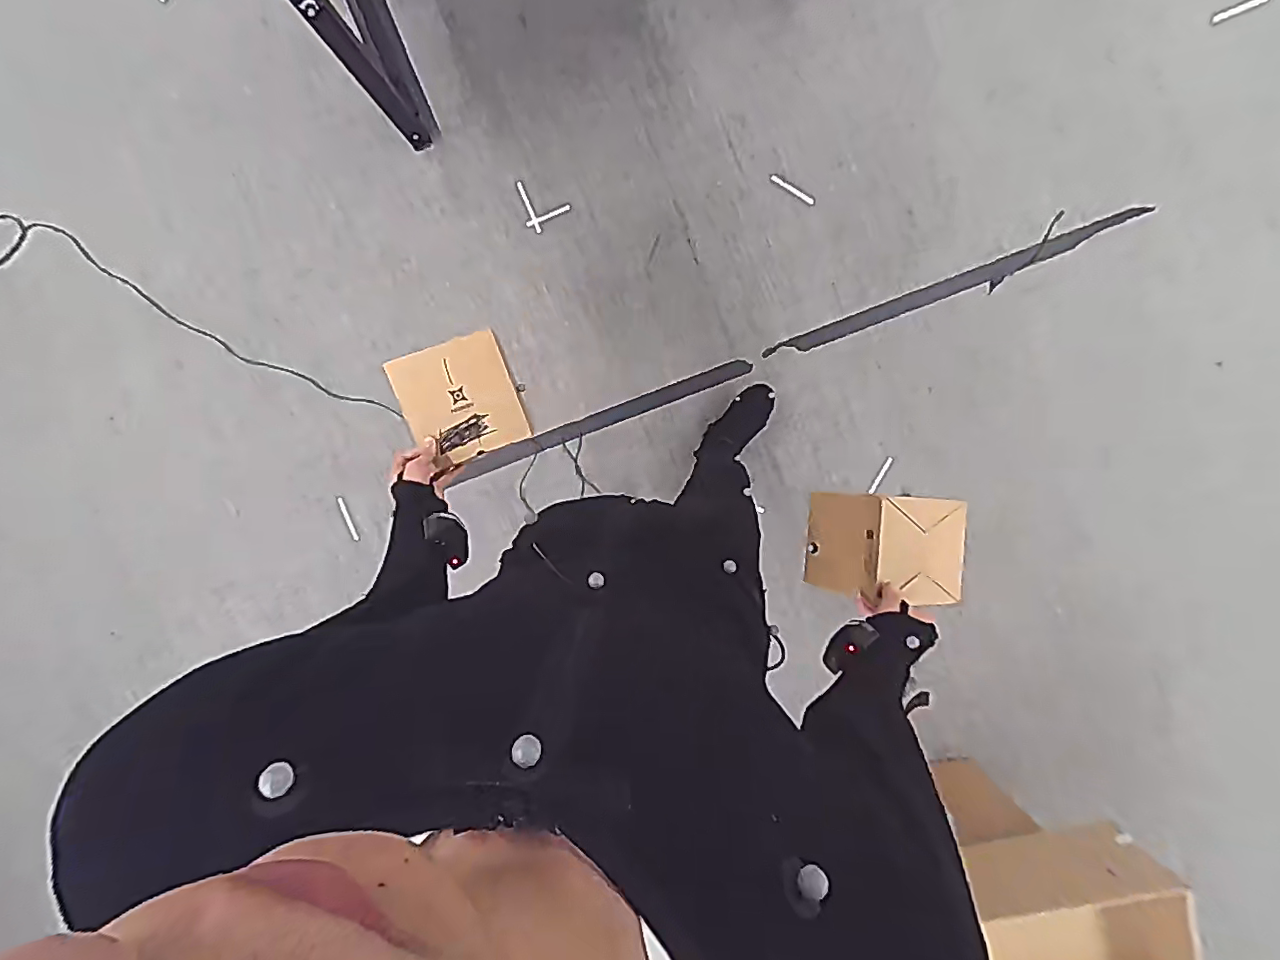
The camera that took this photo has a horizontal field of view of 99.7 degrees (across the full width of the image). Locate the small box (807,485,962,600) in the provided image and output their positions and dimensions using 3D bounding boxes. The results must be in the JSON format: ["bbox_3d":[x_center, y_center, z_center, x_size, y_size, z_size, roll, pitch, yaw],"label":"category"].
[{"bbox_3d":[0.401,0.097,0.886,0.179,0.176,0.168,3,90,-21],"label":"small box"}]

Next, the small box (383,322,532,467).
[{"bbox_3d":[-0.280,-0.139,0.877,0.168,0.176,0.179,-22,102,-7],"label":"small box"}]
